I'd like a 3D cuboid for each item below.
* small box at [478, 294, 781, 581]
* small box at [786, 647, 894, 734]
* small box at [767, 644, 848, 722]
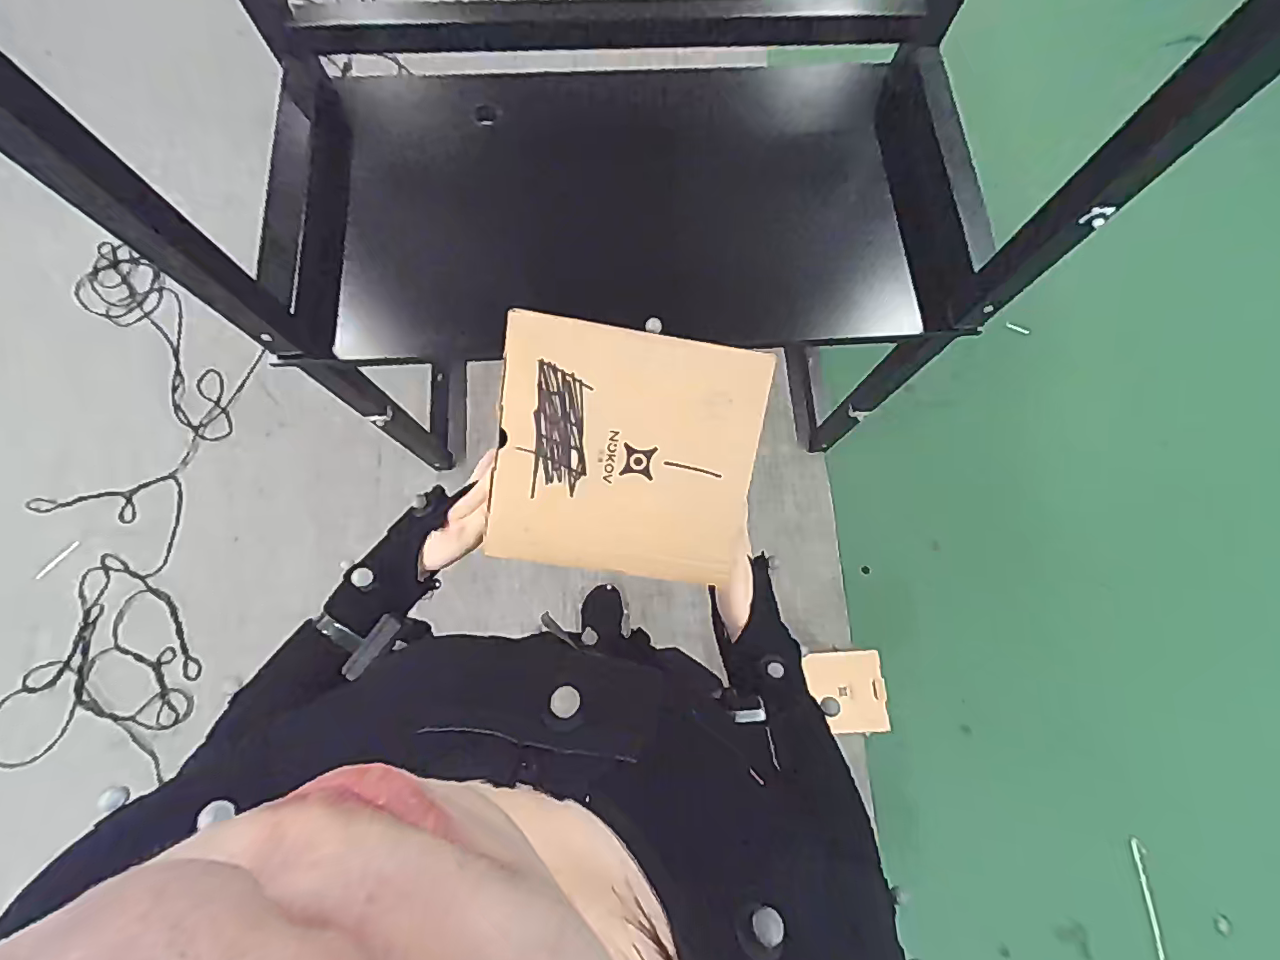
[{"bbox_3d":[-0.013,-0.038,0.427,0.179,0.176,0.168,8,102,-5],"label":"small box"},{"bbox_3d":[0.440,0.470,1.224,0.179,0.176,0.168,-3,75,-3],"label":"small box"},{"bbox_3d":[0.430,0.511,1.380,0.179,0.176,0.168,-4,76,-2],"label":"small box"}]
